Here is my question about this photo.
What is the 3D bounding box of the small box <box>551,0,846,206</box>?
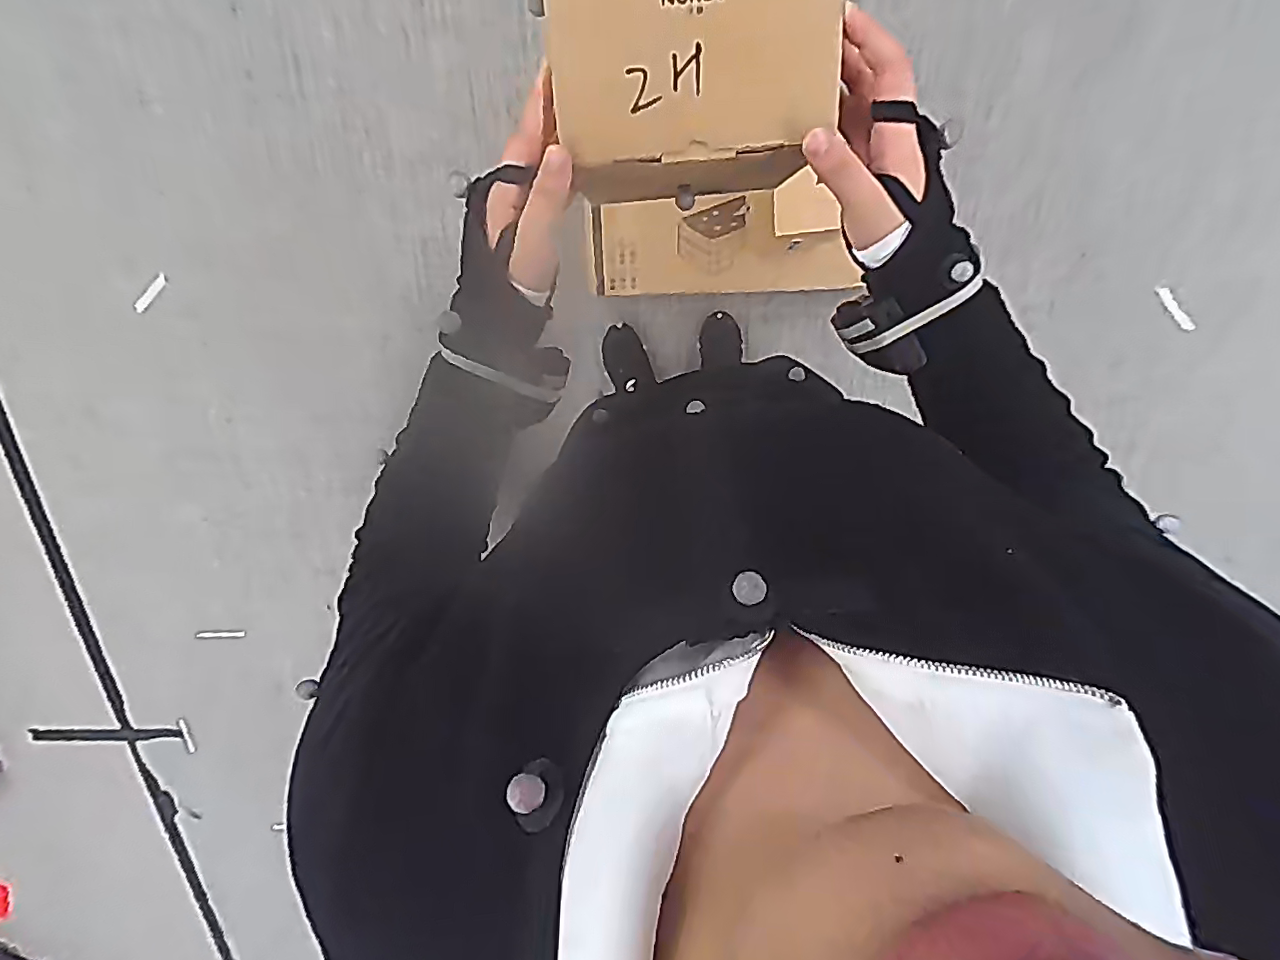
[{"bbox_3d":[0.031,-0.300,0.369,0.168,0.176,0.179,-3,110,2],"label":"small box"}]

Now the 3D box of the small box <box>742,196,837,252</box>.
[{"bbox_3d":[0.314,-0.582,1.143,0.168,0.176,0.179,-4,108,1],"label":"small box"}]

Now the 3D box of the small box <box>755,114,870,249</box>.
[{"bbox_3d":[0.304,-0.533,0.987,0.168,0.176,0.179,-6,108,3],"label":"small box"}]
